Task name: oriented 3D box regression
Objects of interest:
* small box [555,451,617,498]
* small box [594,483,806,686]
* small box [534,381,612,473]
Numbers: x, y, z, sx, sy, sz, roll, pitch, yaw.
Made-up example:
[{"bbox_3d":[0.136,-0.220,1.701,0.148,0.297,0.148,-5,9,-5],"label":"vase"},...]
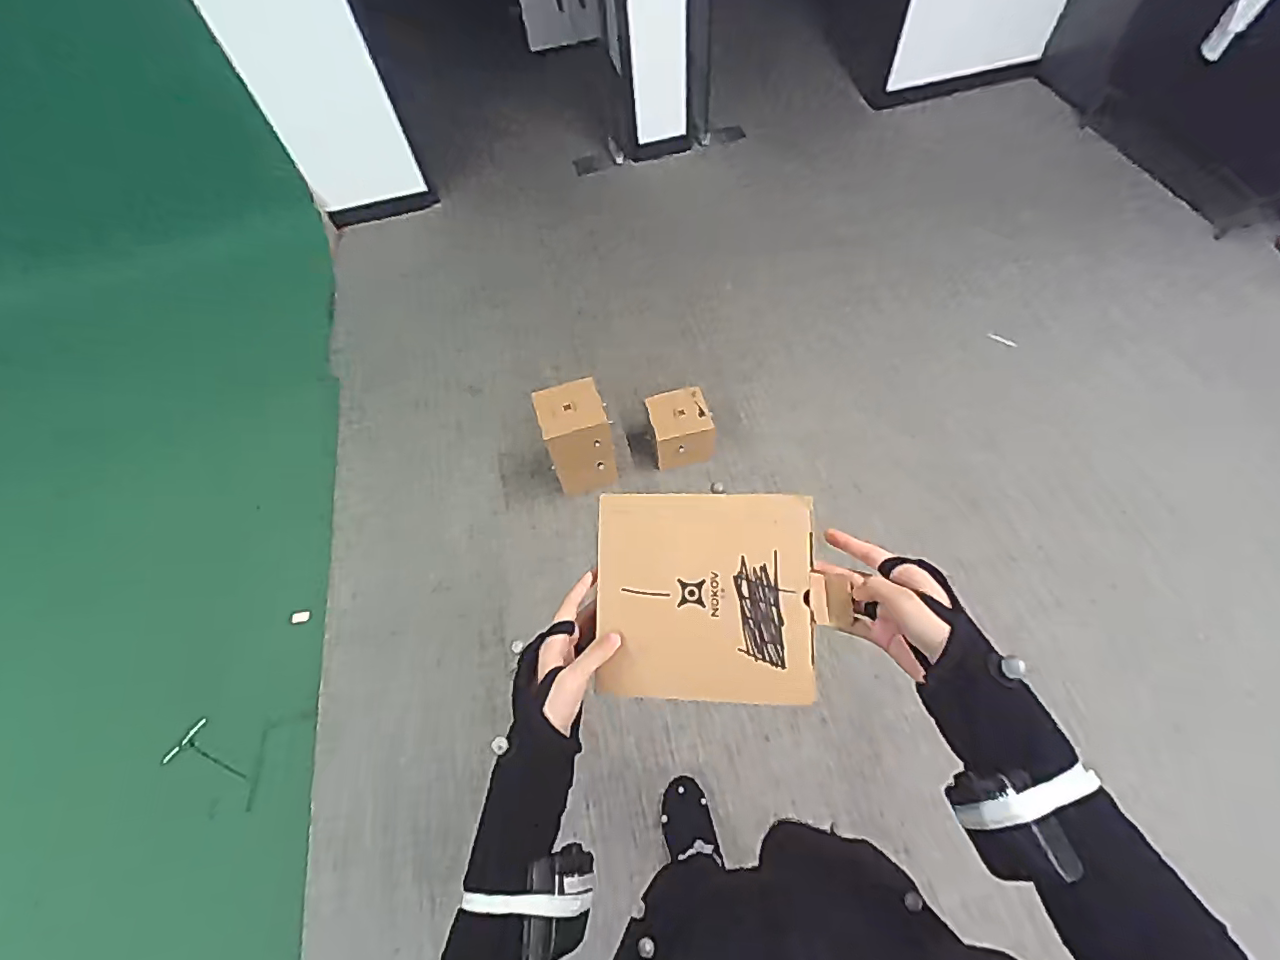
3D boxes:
[{"bbox_3d":[-0.175,-0.070,1.663,0.179,0.176,0.168,-17,60,-4],"label":"small box"},{"bbox_3d":[0.060,0.092,0.530,0.179,0.176,0.168,0,83,9],"label":"small box"},{"bbox_3d":[-0.182,-0.144,1.518,0.179,0.176,0.168,-17,60,-4],"label":"small box"}]
